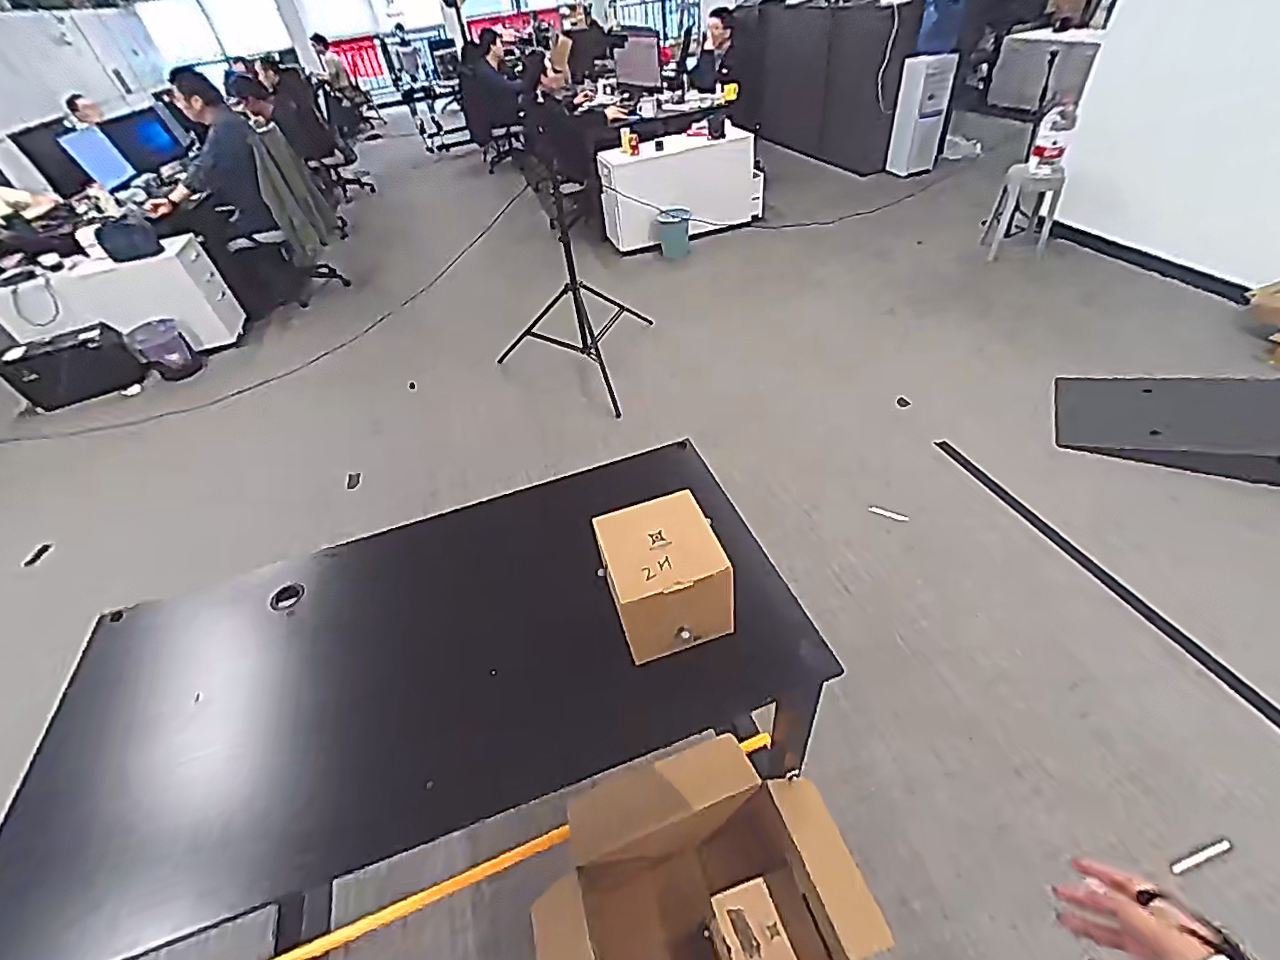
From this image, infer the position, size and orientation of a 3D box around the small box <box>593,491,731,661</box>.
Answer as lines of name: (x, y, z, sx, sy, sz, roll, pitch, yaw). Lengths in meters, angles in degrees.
small box: (0.034, 0.151, 0.856, 0.168, 0.176, 0.179, -17, 43, -7)
